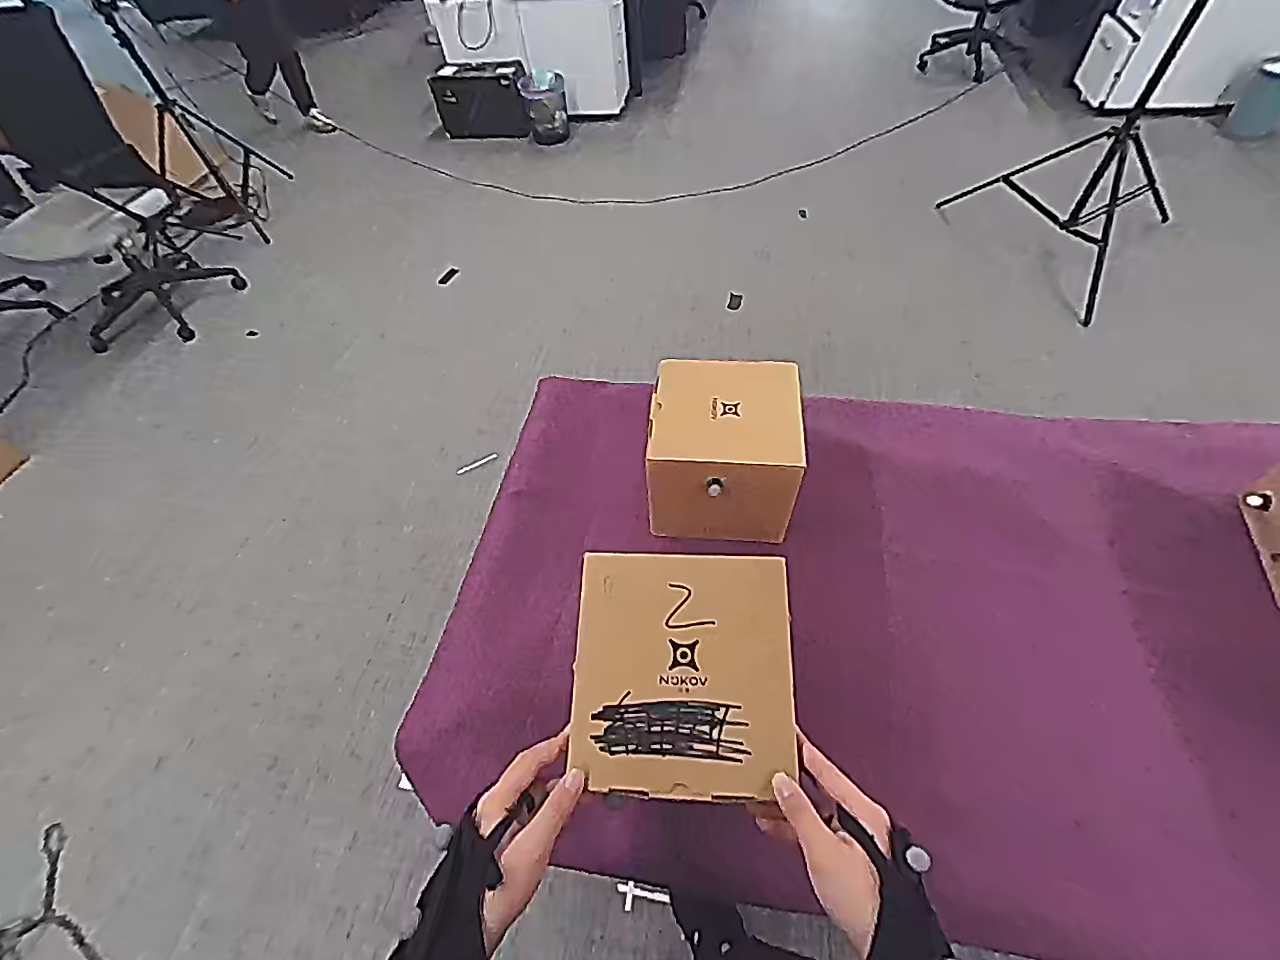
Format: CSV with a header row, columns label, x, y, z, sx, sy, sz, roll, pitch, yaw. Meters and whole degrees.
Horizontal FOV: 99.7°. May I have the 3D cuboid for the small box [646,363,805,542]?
label,x,y,z,sx,sy,sz,roll,pitch,yaw
small box,0.107,-0.031,0.704,0.179,0.176,0.168,3,54,7

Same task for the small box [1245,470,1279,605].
label,x,y,z,sx,sy,sz,roll,pitch,yaw
small box,0.819,0.056,0.574,0.179,0.176,0.168,11,57,12
